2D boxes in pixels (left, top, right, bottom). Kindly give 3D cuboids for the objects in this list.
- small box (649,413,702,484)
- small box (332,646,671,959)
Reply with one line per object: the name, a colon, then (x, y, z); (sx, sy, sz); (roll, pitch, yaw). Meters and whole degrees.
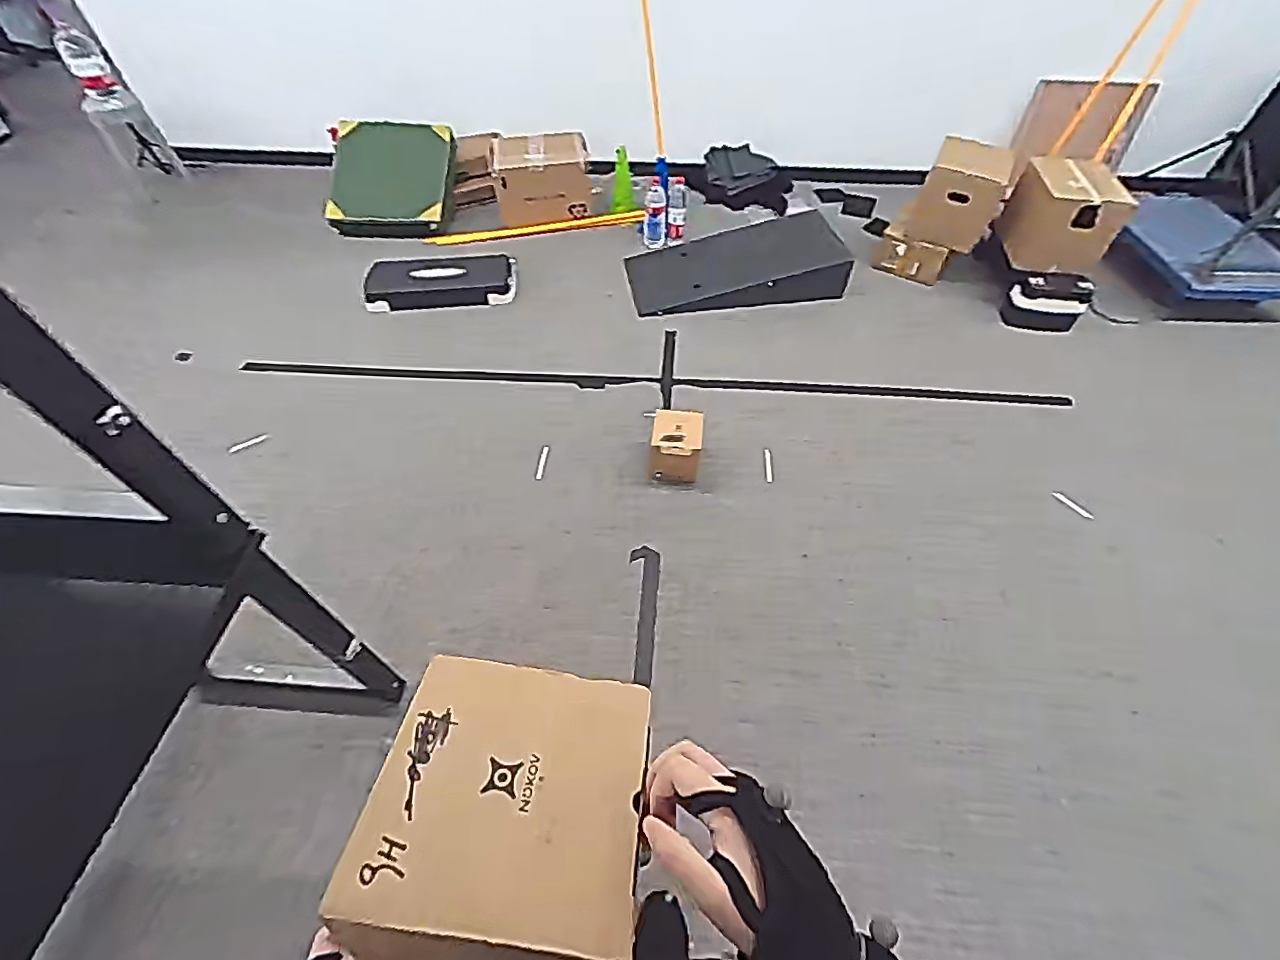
small box: (0.121, -0.104, 1.856); (0.168, 0.176, 0.179); (6, 51, 3)
small box: (-0.084, 0.255, 0.400); (0.179, 0.176, 0.168); (12, 38, -1)
